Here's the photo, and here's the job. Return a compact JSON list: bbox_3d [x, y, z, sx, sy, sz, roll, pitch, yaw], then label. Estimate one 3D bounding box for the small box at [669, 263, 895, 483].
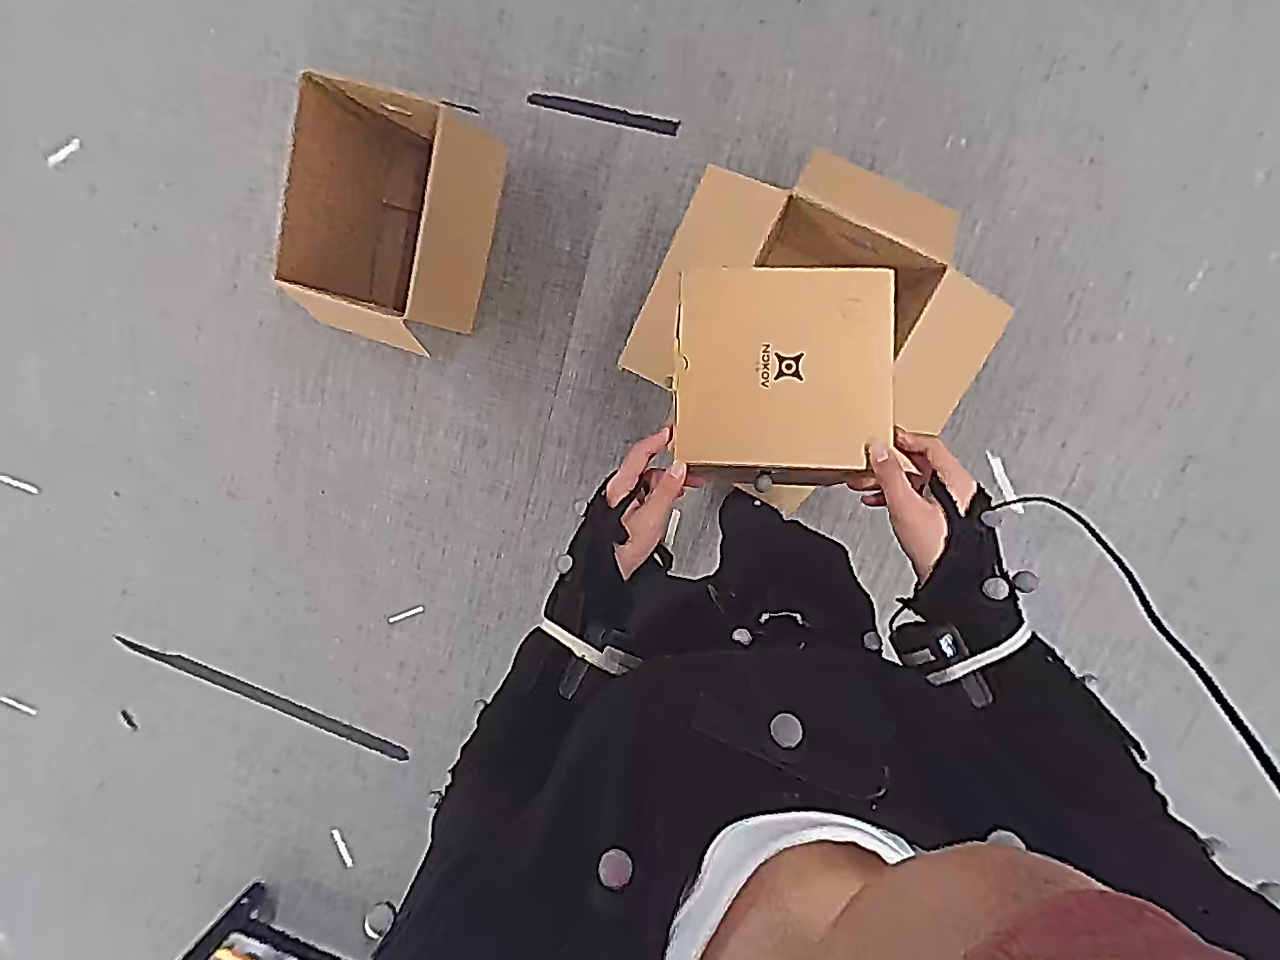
[{"bbox_3d":[0.118,-0.087,0.509,0.179,0.176,0.168,1,86,5],"label":"small box"}]
